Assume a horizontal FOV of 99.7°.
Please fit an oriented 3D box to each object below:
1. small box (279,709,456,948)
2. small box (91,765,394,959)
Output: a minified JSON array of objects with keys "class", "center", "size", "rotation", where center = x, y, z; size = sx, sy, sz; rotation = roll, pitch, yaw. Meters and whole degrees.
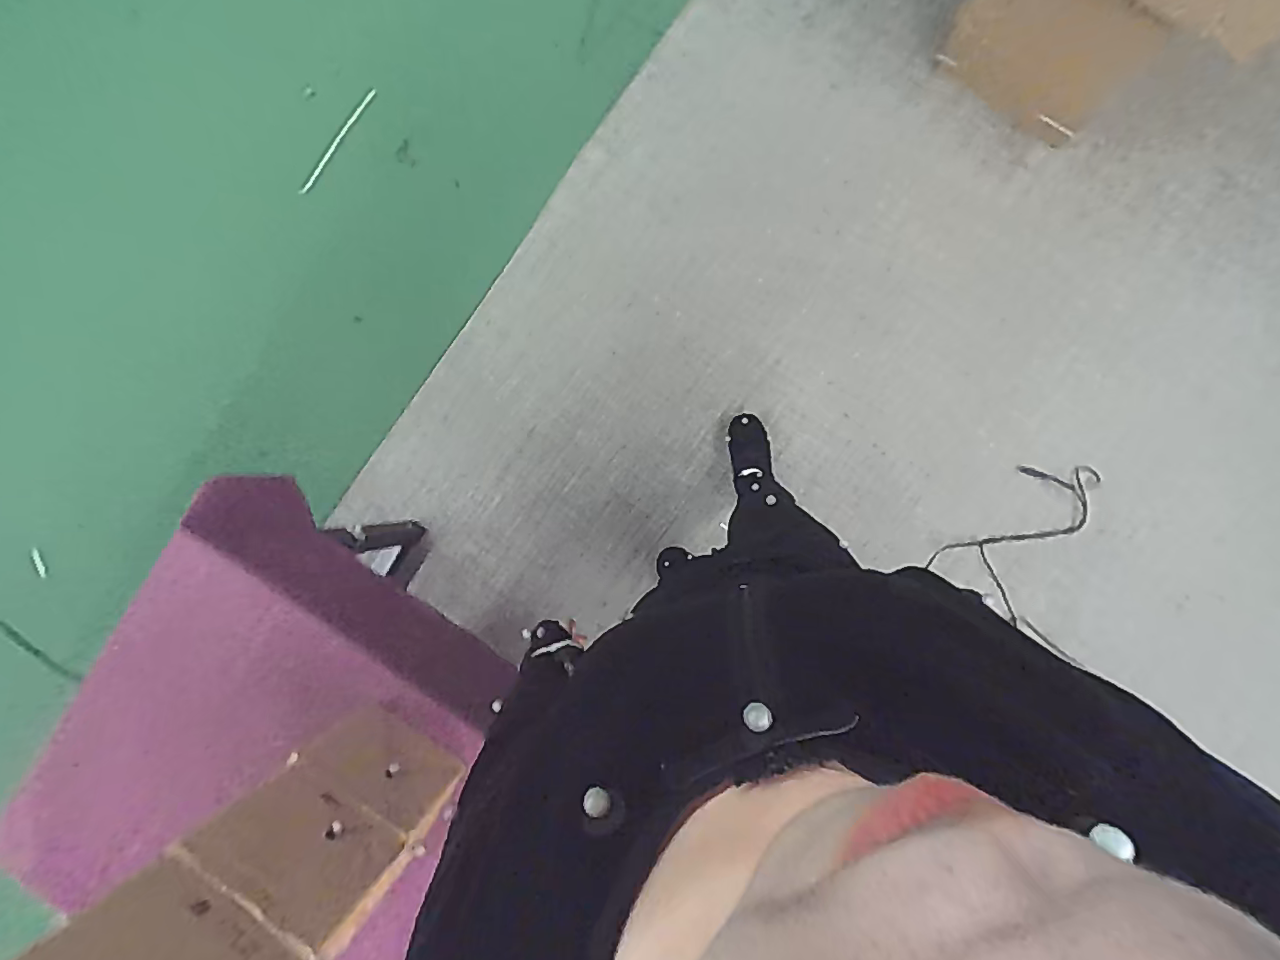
[{"class":"small box","center":[-0.379,0.441,0.719],"size":[0.179,0.176,0.168],"rotation":[31,91,4]},{"class":"small box","center":[-0.394,0.443,0.556],"size":[0.168,0.176,0.179],"rotation":[33,91,6]}]
